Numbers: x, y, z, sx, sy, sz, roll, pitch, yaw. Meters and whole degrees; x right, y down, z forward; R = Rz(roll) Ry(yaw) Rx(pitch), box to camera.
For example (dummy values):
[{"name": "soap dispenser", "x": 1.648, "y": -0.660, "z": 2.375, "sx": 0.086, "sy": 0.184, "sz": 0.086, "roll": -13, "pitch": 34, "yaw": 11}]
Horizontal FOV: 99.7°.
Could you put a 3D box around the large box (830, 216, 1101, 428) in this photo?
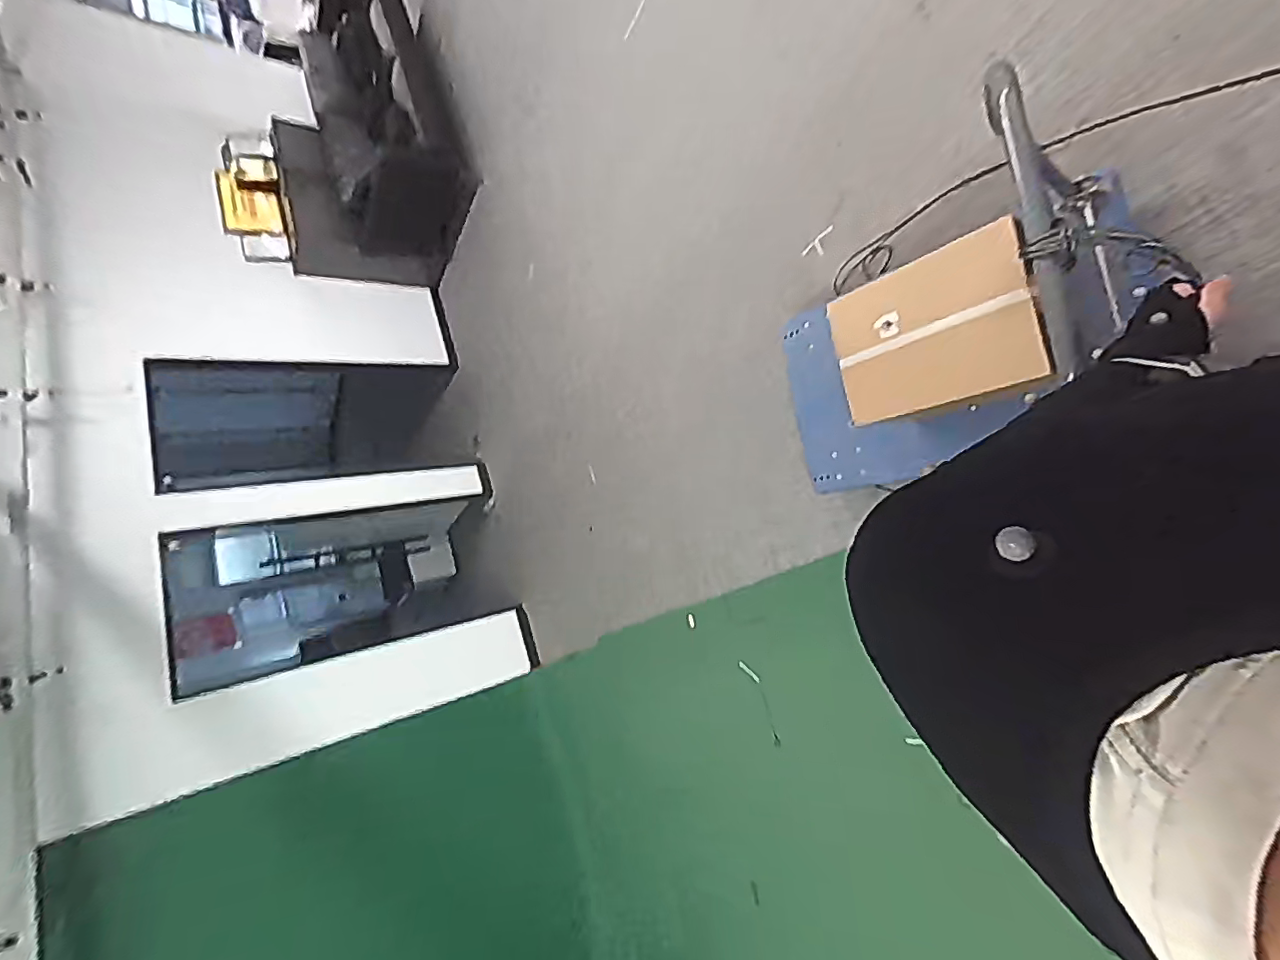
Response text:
[{"name": "large box", "x": 0.722, "y": -0.326, "z": 1.231, "sx": 0.408, "sy": 0.320, "sz": 0.320, "roll": -17, "pitch": 82, "yaw": 53}]
